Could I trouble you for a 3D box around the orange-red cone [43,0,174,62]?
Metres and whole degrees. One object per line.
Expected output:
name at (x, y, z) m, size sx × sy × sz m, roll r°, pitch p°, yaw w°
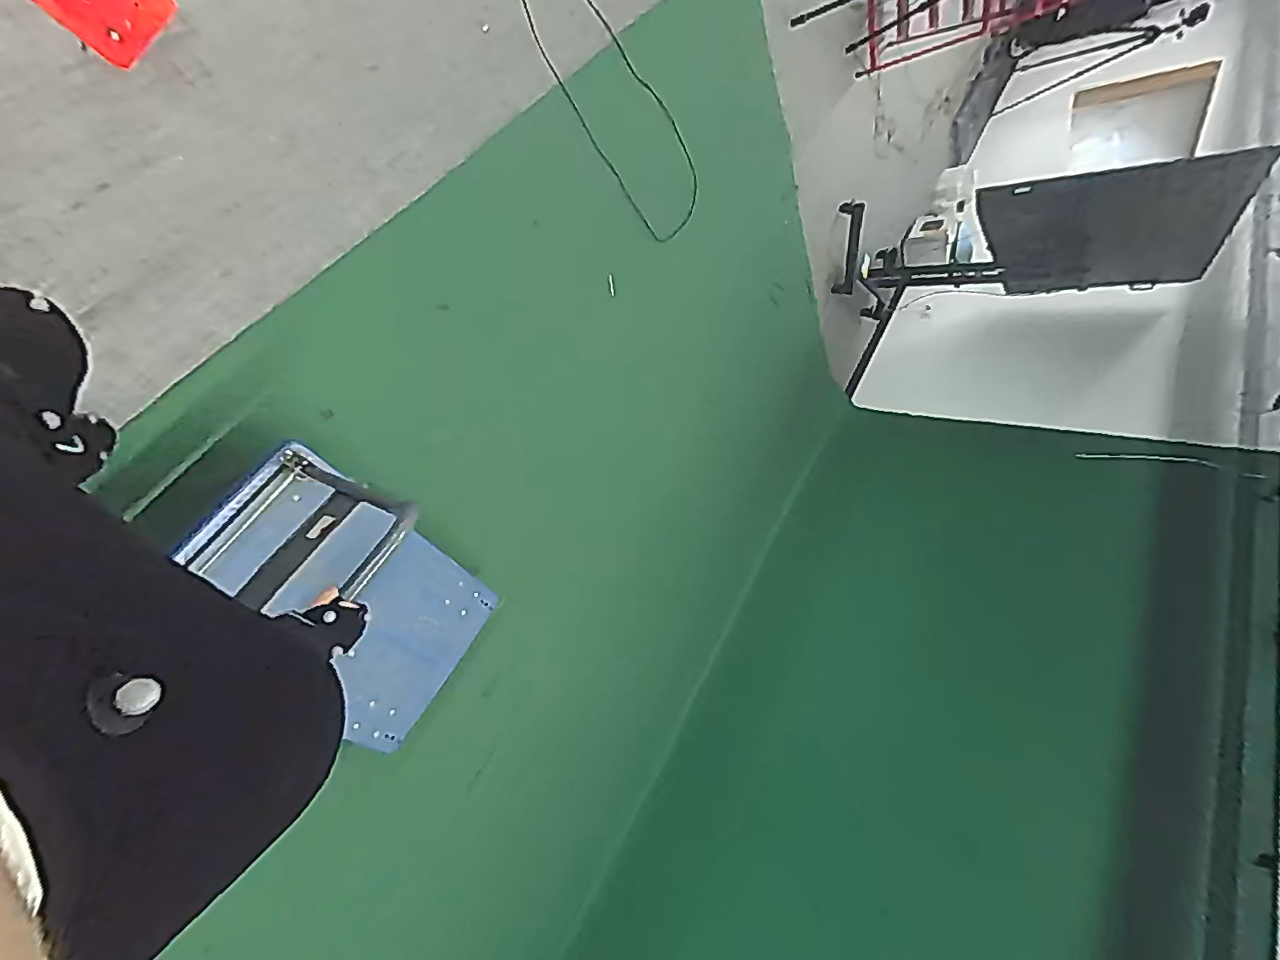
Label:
orange-red cone at (-0.930, -0.934, 0.945) m, size 0.198 × 0.360 × 0.199 m, roll 41°, pitch 68°, yaw -50°
